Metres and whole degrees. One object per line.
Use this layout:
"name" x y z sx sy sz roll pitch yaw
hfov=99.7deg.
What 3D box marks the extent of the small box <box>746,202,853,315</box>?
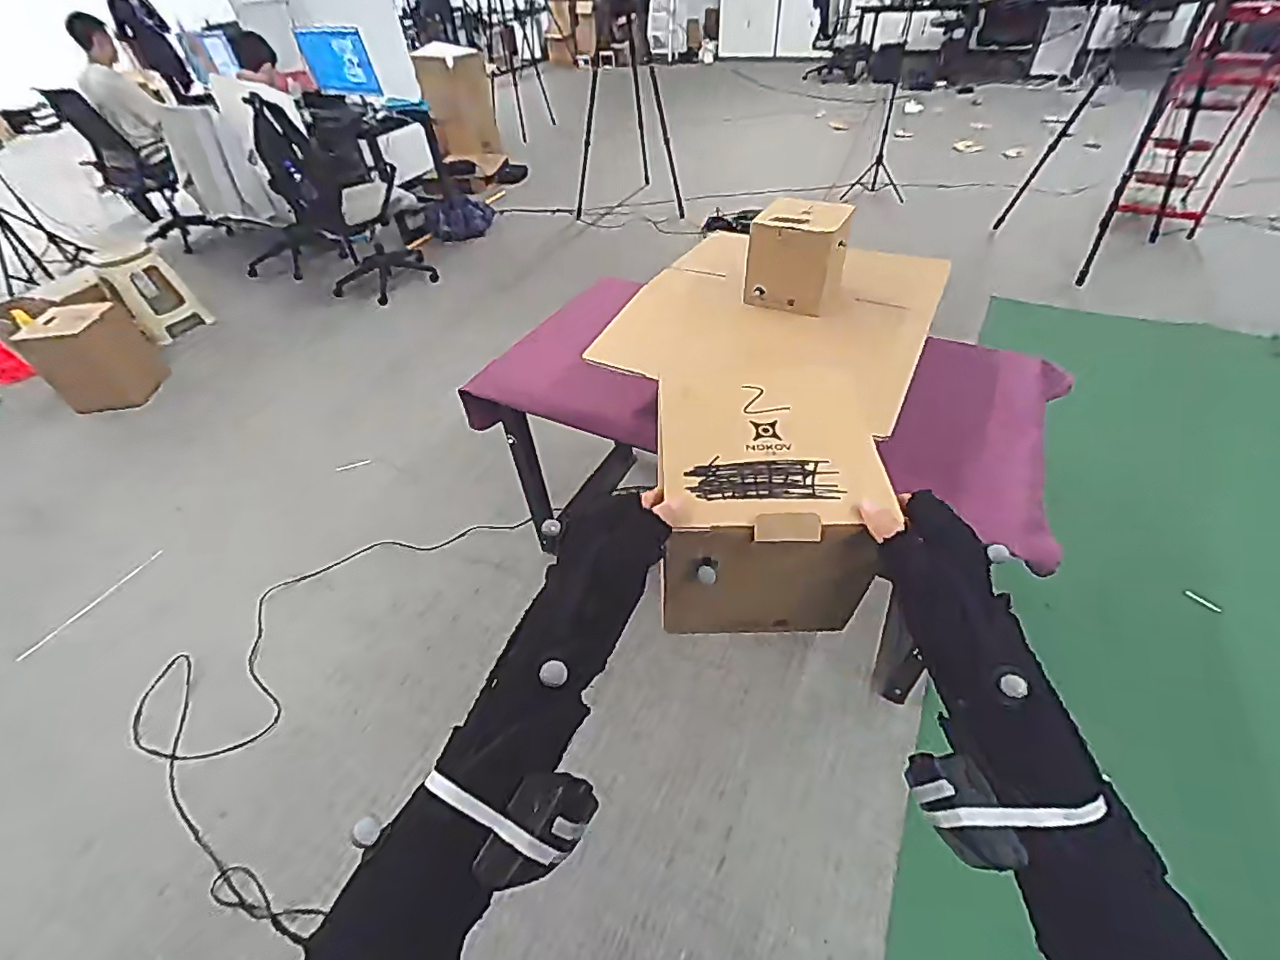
"small box" 0.330 -0.467 1.141 0.168 0.176 0.179 19 47 23
